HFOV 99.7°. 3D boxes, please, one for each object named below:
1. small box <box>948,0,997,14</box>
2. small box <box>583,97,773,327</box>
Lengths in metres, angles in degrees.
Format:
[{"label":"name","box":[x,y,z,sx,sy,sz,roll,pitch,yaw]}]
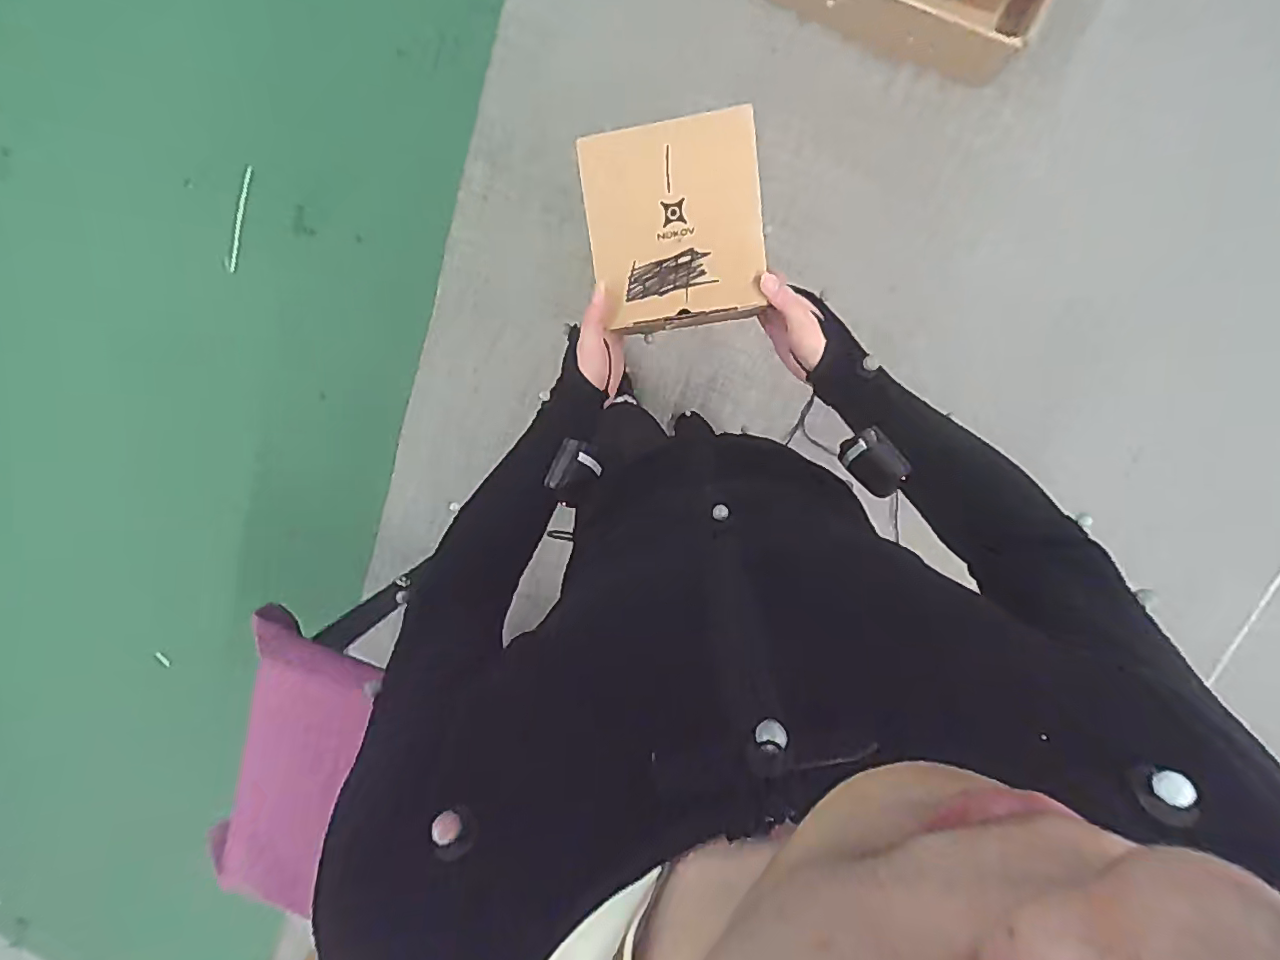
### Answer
[{"label":"small box","box":[0.764,-1.187,1.177,0.168,0.176,0.179,24,103,3]},{"label":"small box","box":[0.045,-0.262,0.577,0.168,0.176,0.179,-6,101,7]}]
